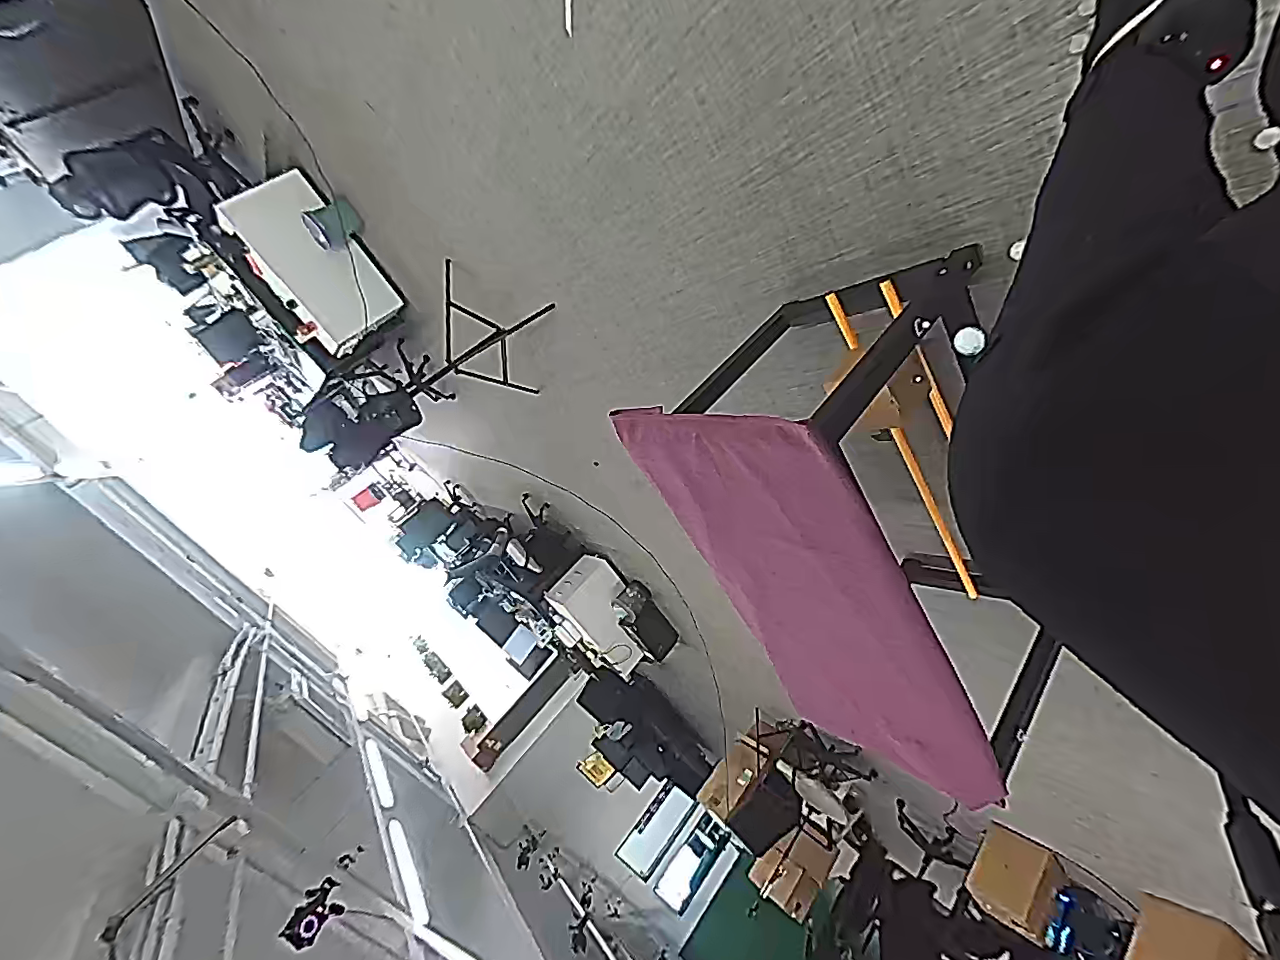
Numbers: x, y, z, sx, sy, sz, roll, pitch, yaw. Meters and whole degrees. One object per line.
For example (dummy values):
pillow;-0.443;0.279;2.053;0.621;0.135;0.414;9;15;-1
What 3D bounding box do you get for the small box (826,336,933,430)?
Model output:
small box;0.630;-0.252;1.421;0.179;0.176;0.168;1;133;56
